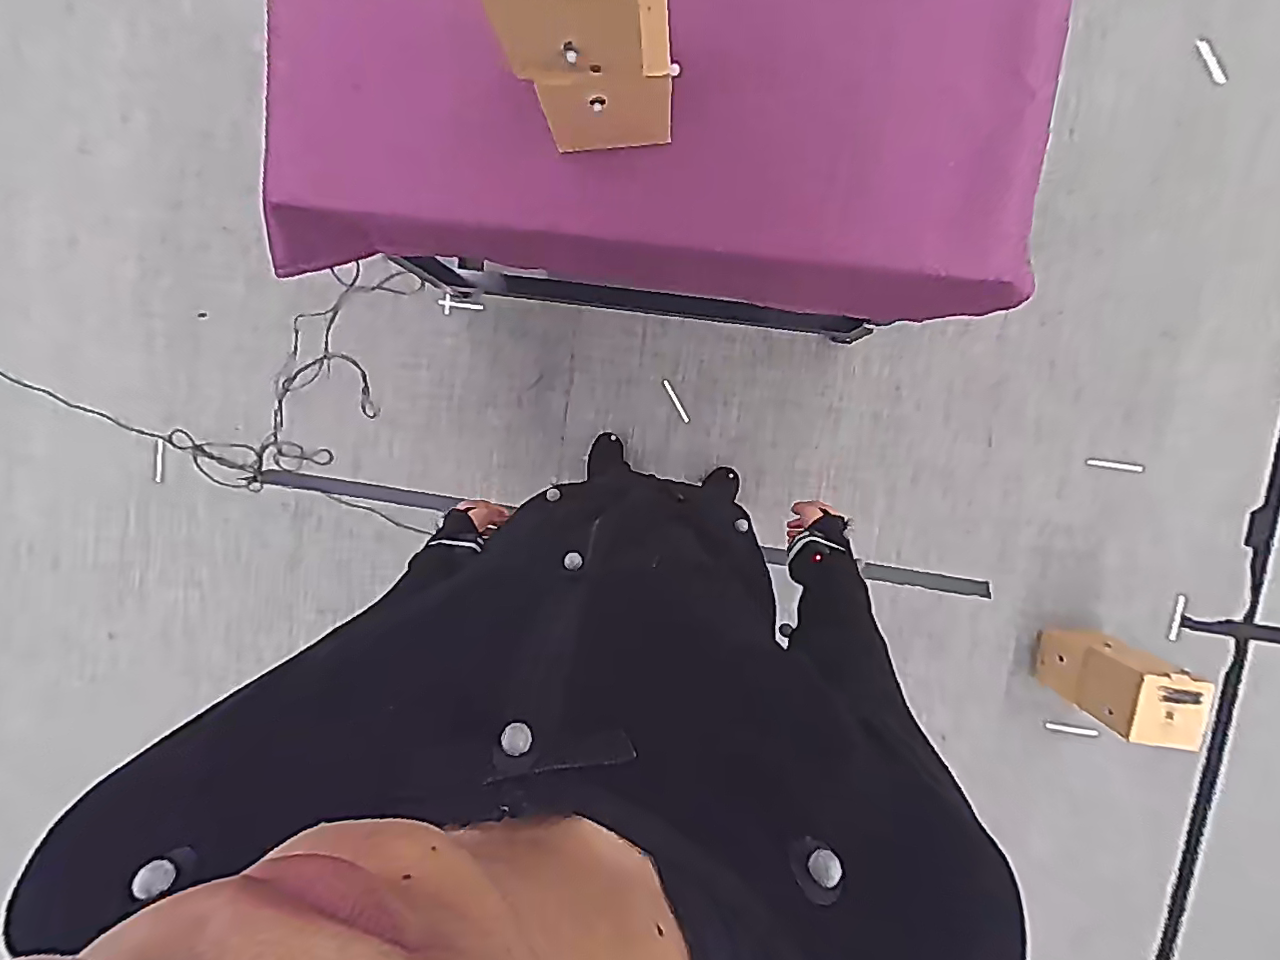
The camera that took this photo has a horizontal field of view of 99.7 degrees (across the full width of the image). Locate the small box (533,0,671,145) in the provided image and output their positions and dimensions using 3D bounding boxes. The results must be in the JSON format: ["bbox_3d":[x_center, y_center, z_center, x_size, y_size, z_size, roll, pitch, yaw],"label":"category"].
[{"bbox_3d":[-0.047,-0.593,0.750,0.179,0.176,0.168,-3,96,3],"label":"small box"}]

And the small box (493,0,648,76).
[{"bbox_3d":[-0.076,-0.586,0.586,0.168,0.176,0.179,2,96,4],"label":"small box"}]

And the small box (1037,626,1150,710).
[{"bbox_3d":[1.267,0.522,1.525,0.179,0.176,0.168,4,96,2],"label":"small box"}]
